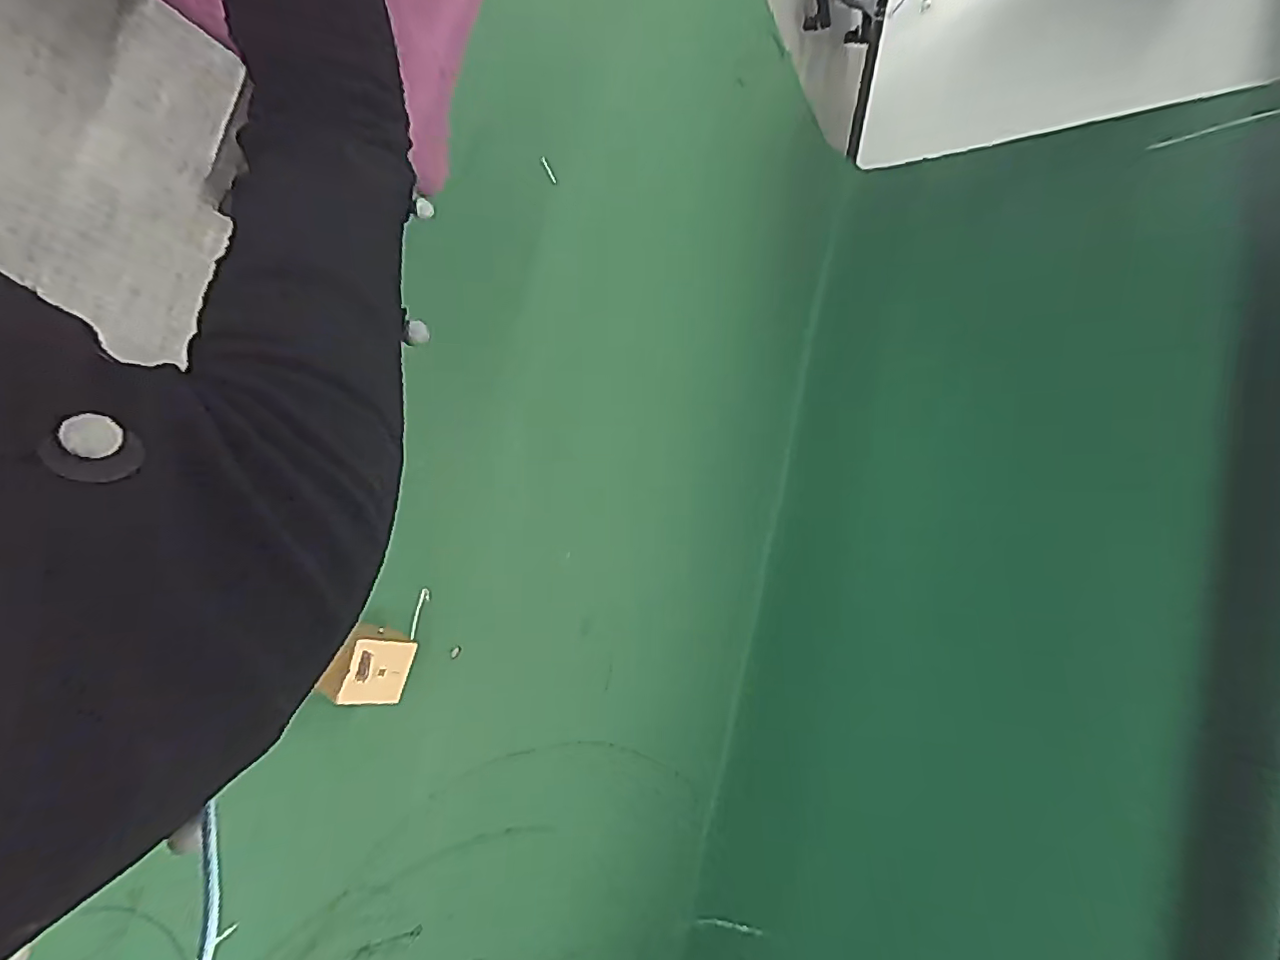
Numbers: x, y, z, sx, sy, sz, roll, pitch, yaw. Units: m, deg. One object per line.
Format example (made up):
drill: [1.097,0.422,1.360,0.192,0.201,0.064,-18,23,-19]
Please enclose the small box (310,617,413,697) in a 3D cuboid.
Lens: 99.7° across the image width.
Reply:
small box: [-0.760,0.478,1.469,0.179,0.176,0.168,23,79,-51]
